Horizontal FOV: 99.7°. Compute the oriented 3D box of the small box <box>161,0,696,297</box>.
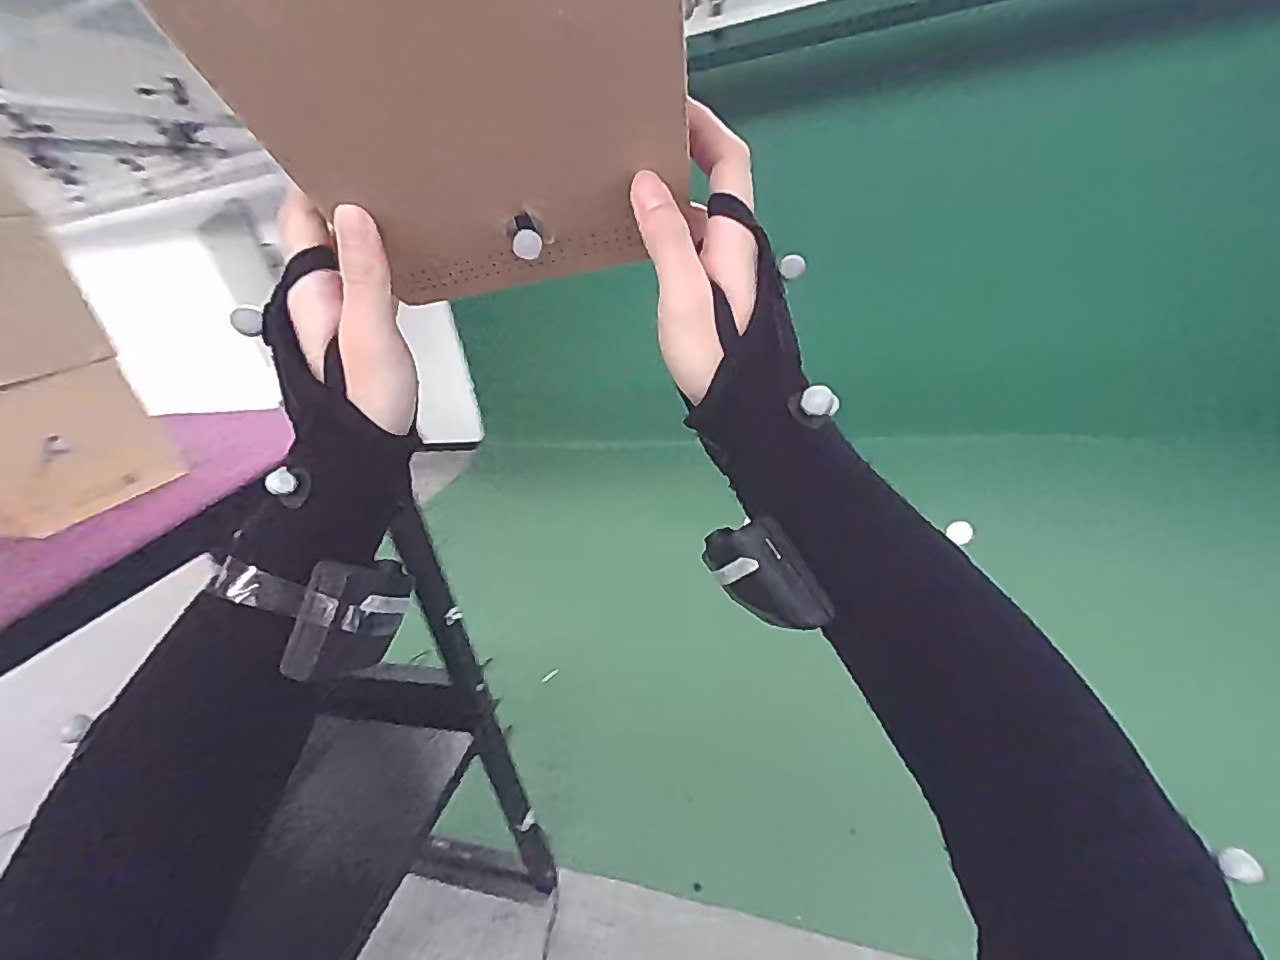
[{"bbox_3d":[-0.070,-0.218,0.263,0.179,0.168,0.176,-10,-19,4],"label":"small box"}]

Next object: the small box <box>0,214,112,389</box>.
[{"bbox_3d":[-0.762,-0.180,0.592,0.168,0.176,0.179,-2,27,18],"label":"small box"}]

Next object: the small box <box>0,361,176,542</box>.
[{"bbox_3d":[-0.741,-0.036,0.668,0.179,0.176,0.168,-1,28,21],"label":"small box"}]
